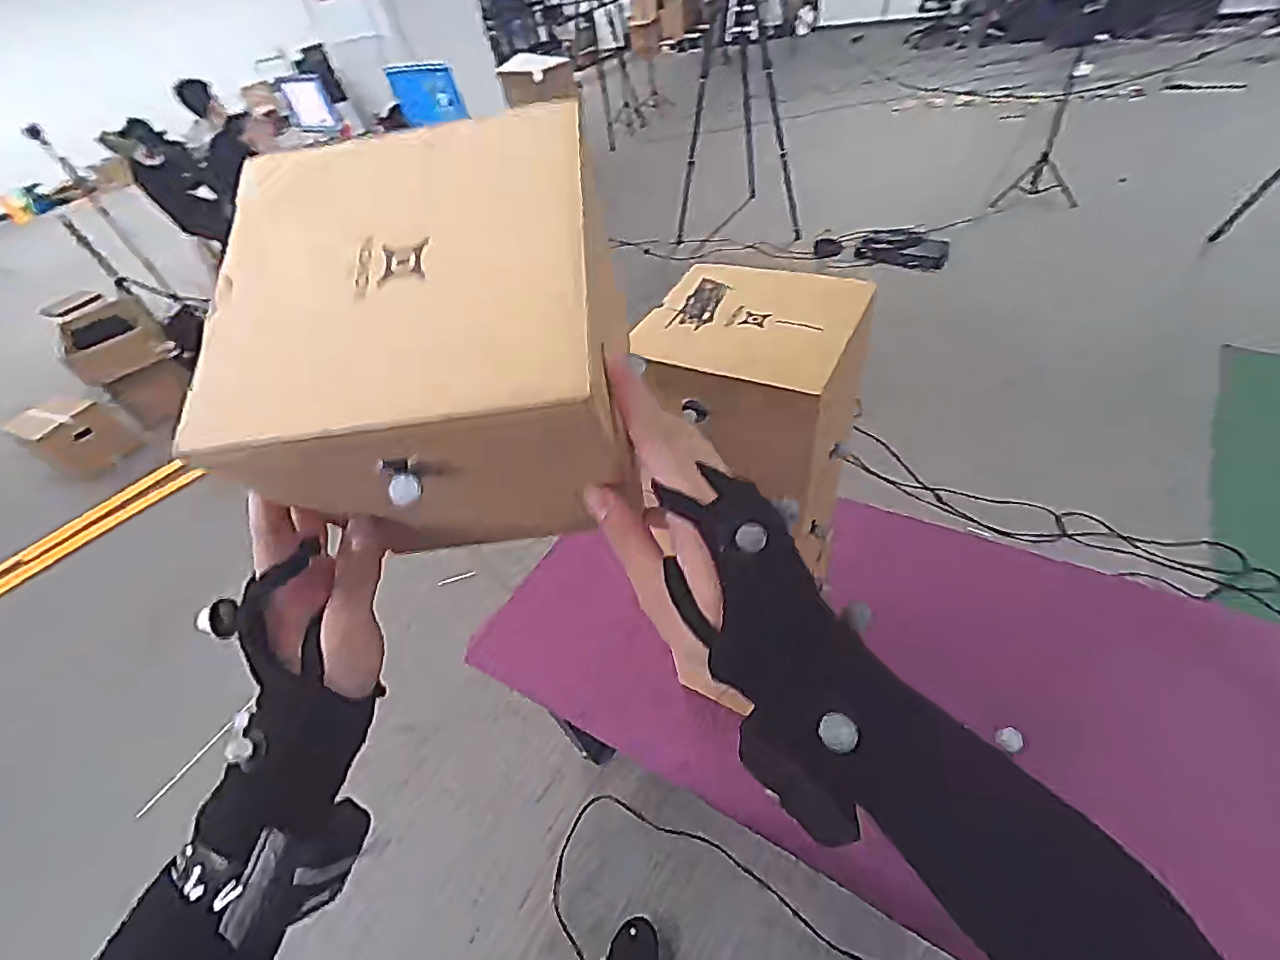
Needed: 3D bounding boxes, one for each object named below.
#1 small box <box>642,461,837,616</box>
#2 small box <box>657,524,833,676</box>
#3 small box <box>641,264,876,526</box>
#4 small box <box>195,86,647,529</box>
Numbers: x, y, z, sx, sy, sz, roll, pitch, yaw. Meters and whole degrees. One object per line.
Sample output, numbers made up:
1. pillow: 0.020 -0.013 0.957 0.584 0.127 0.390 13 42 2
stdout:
1. small box: 0.125 0.028 0.633 0.168 0.176 0.179 18 53 26
2. small box: 0.147 0.144 0.746 0.179 0.176 0.168 18 53 27
3. small box: 0.099 -0.082 0.512 0.179 0.176 0.168 18 53 25
4. small box: -0.091 -0.076 0.315 0.179 0.176 0.168 -6 68 8
